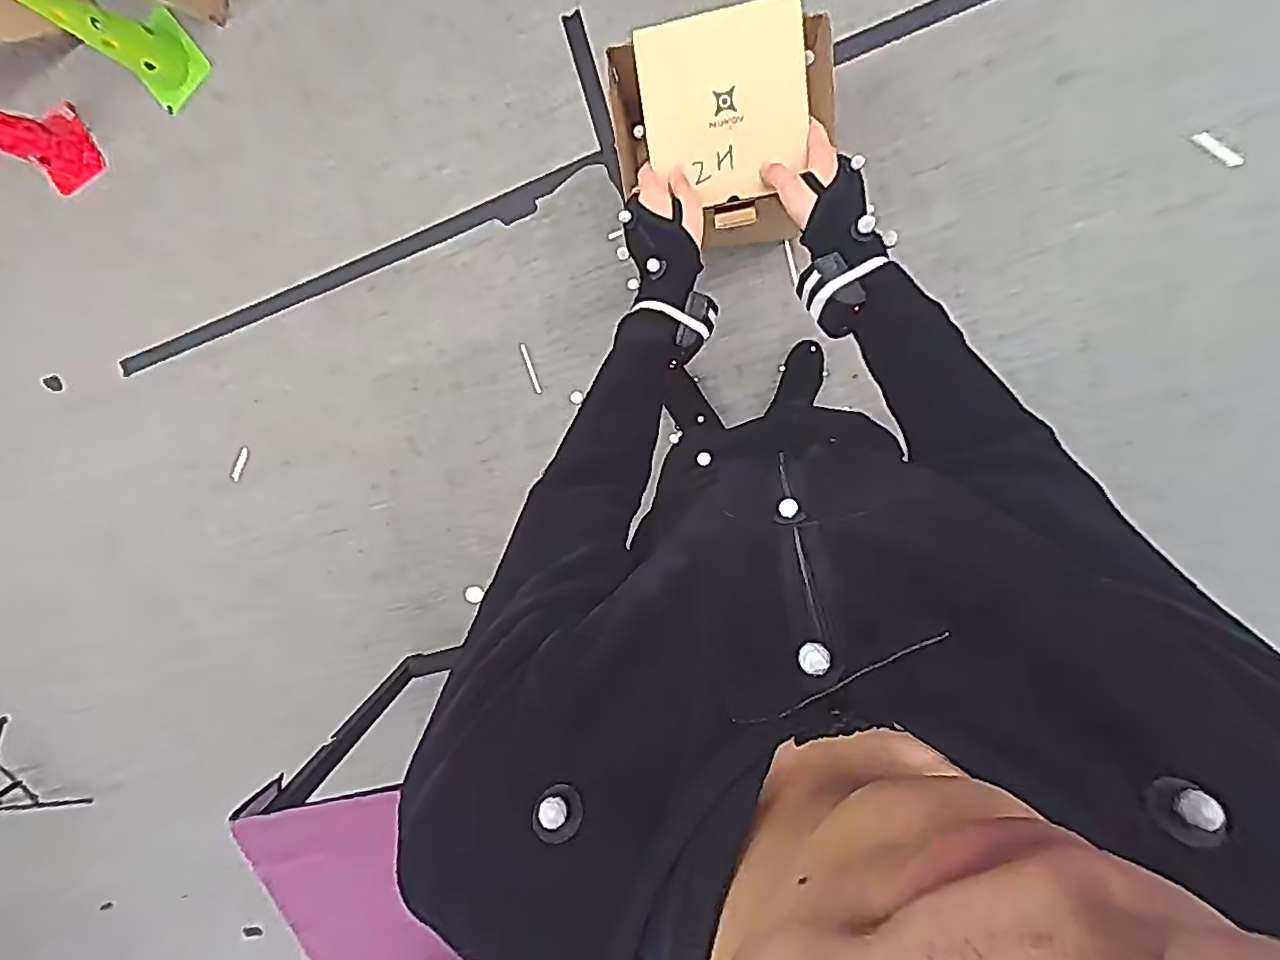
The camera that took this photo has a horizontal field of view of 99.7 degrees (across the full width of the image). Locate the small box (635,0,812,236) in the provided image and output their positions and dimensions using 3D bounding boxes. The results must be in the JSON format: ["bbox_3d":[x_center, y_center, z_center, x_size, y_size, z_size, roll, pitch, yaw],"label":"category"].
[{"bbox_3d":[0.093,-0.394,0.620,0.168,0.176,0.179,-7,108,9],"label":"small box"}]
